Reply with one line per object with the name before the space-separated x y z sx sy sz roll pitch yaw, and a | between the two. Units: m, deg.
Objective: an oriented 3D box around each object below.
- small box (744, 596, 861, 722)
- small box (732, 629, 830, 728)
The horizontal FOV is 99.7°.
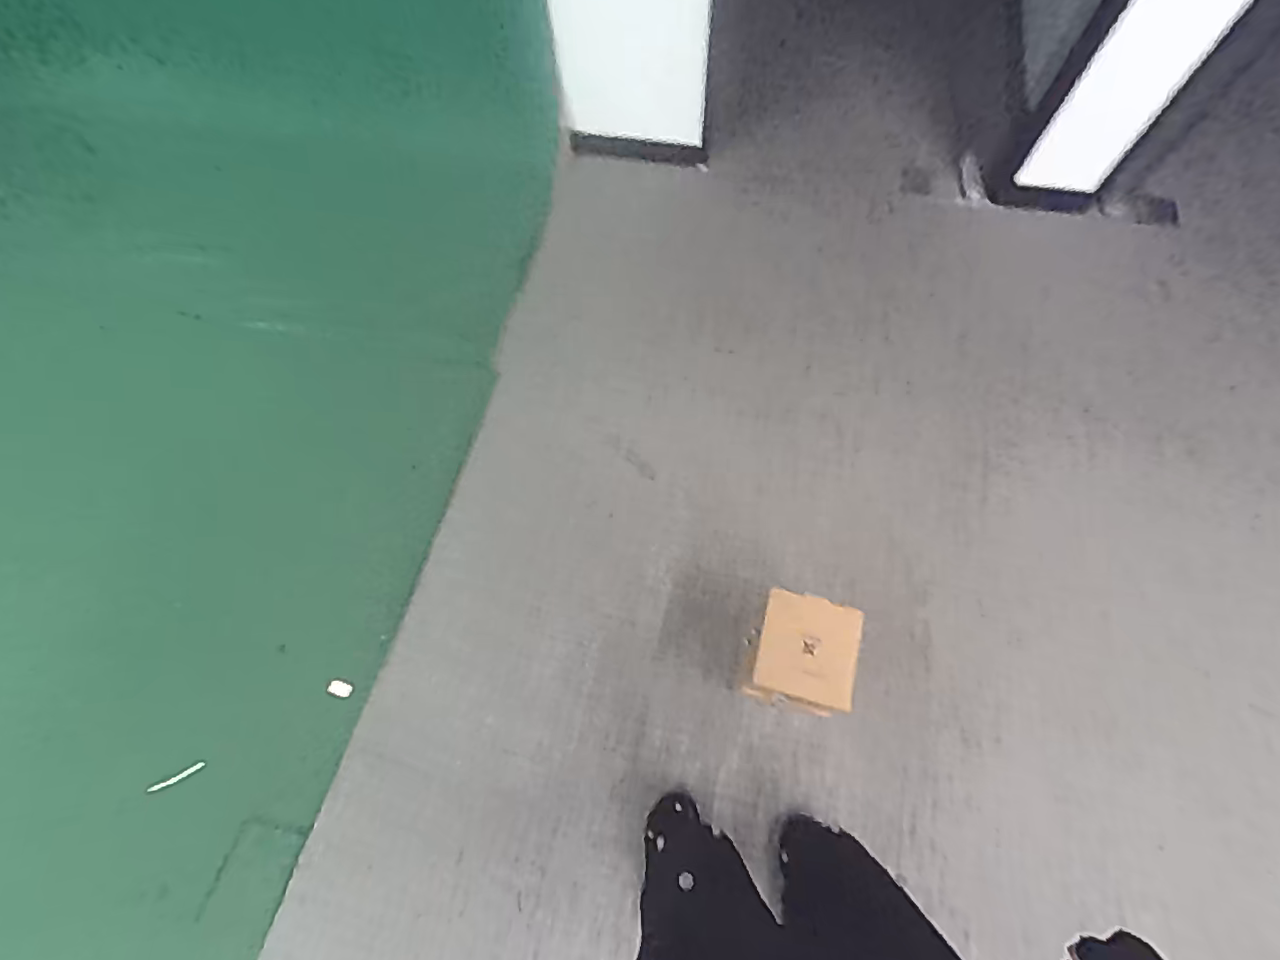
small box | 0.296 0.337 1.010 0.168 0.176 0.179 13 68 10
small box | 0.307 0.414 1.154 0.179 0.176 0.168 15 67 9
